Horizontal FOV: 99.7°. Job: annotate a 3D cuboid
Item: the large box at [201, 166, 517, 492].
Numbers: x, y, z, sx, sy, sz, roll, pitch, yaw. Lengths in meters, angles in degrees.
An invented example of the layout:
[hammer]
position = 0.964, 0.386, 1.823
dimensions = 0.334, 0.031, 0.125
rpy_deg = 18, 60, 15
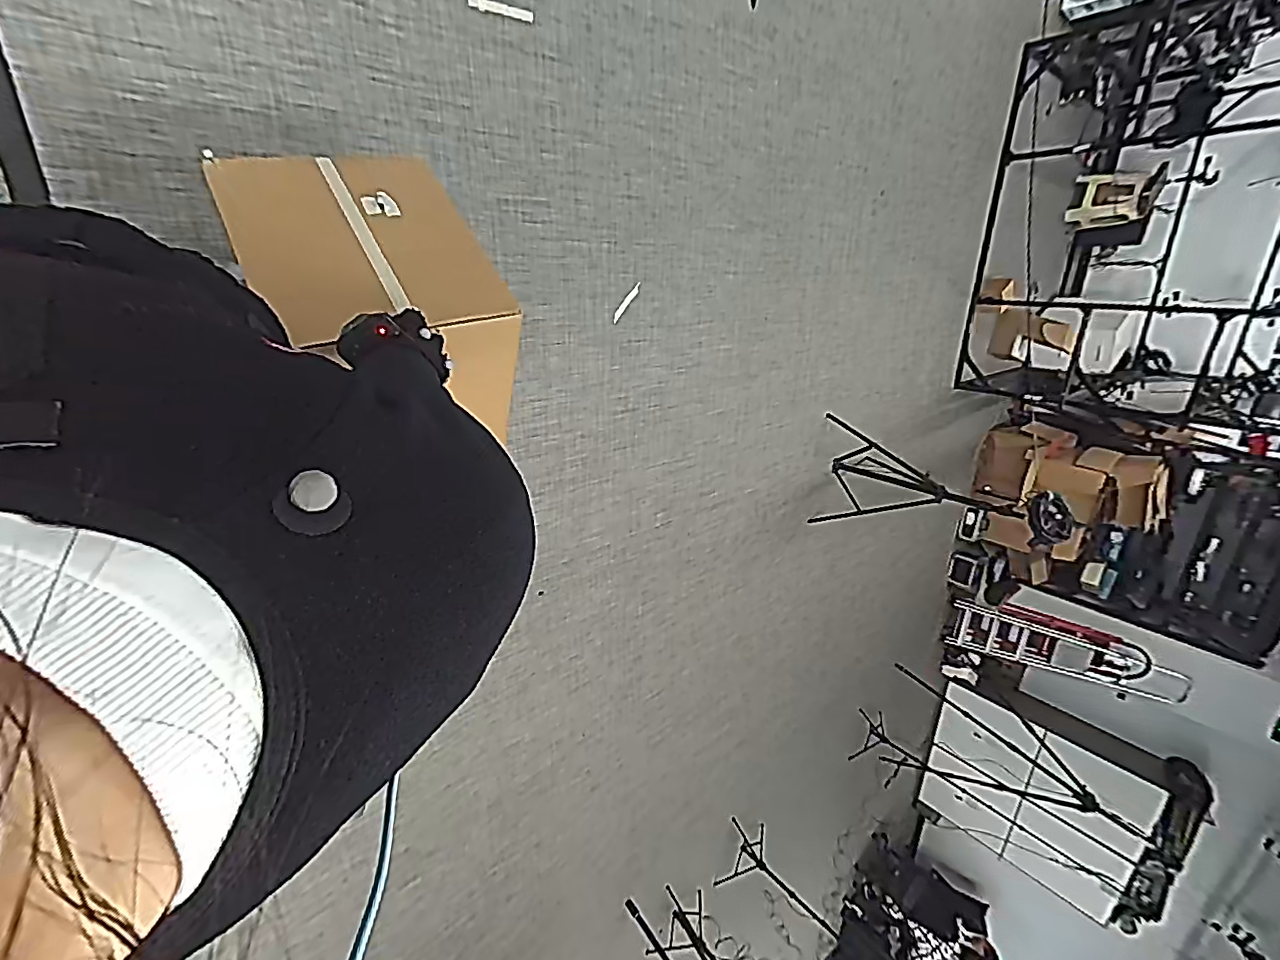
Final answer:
[large box]
position = -0.444, -0.256, 0.898
dimensions = 0.320, 0.408, 0.320
rpy_deg = -21, 154, -32
